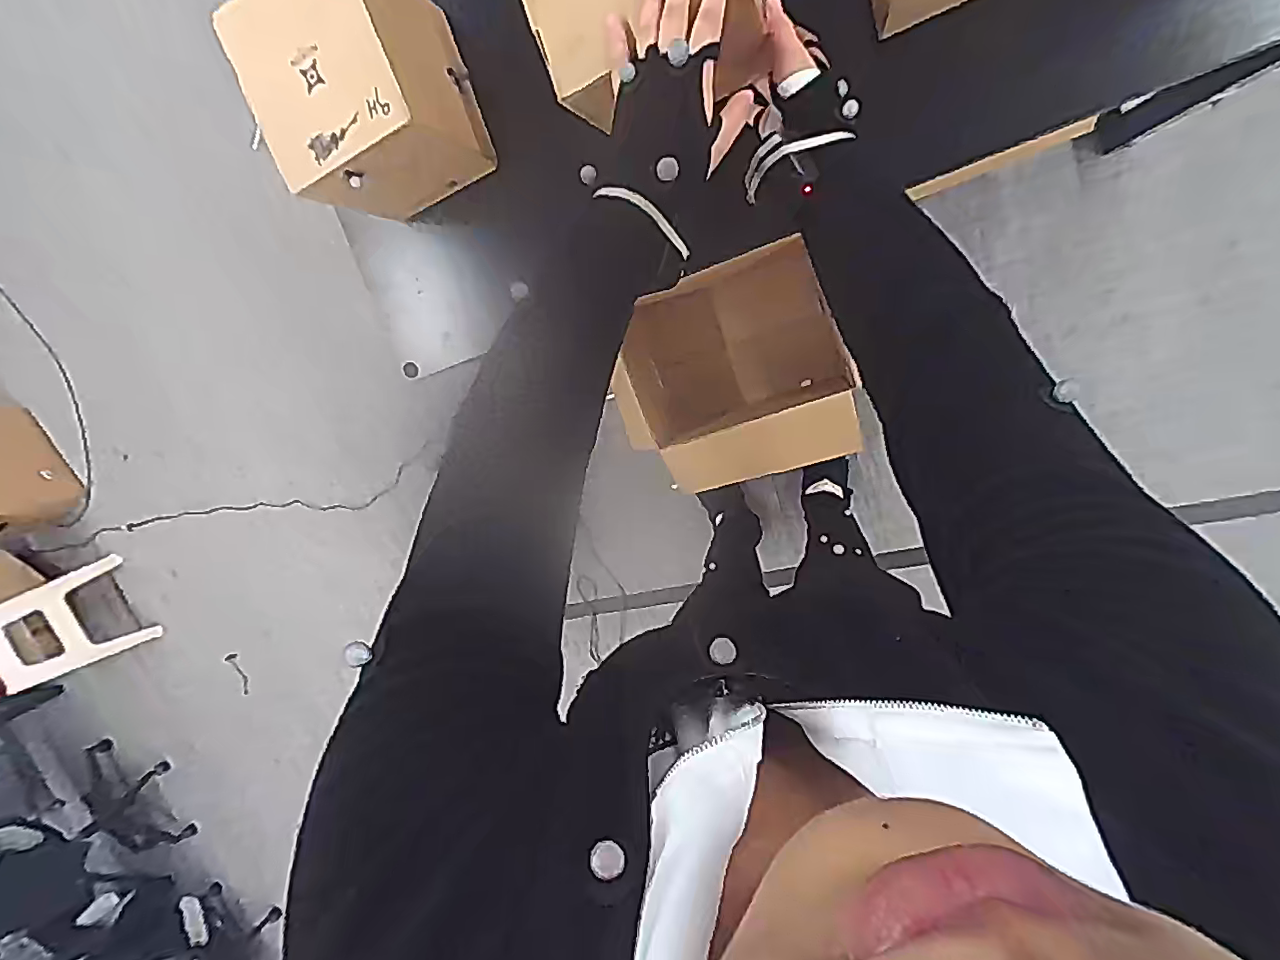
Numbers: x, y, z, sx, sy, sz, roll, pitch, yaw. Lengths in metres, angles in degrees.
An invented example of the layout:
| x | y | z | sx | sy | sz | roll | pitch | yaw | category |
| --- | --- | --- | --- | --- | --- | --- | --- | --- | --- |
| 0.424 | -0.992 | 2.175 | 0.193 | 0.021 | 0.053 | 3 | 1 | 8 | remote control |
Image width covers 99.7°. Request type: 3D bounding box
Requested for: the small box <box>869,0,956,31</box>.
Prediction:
| x | y | z | sx | sy | sz | roll | pitch | yaw | category |
| --- | --- | --- | --- | --- | --- | --- | --- | --- | --- |
| 0.261 | -0.495 | 0.404 | 0.179 | 0.176 | 0.168 | -13 | 102 | 18 | small box |

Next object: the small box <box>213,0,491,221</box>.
| x | y | z | sx | sy | sz | roll | pitch | yaw | category |
| --- | --- | --- | --- | --- | --- | --- | --- | --- | --- |
| -0.294 | -0.412 | 0.588 | 0.168 | 0.176 | 0.179 | -16 | 100 | 19 | small box |

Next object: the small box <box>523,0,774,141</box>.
| x | y | z | sx | sy | sz | roll | pitch | yaw | category |
| --- | --- | --- | --- | --- | --- | --- | --- | --- | --- |
| 0.007 | -0.441 | 0.486 | 0.179 | 0.176 | 0.168 | -13 | 103 | 25 | small box |
